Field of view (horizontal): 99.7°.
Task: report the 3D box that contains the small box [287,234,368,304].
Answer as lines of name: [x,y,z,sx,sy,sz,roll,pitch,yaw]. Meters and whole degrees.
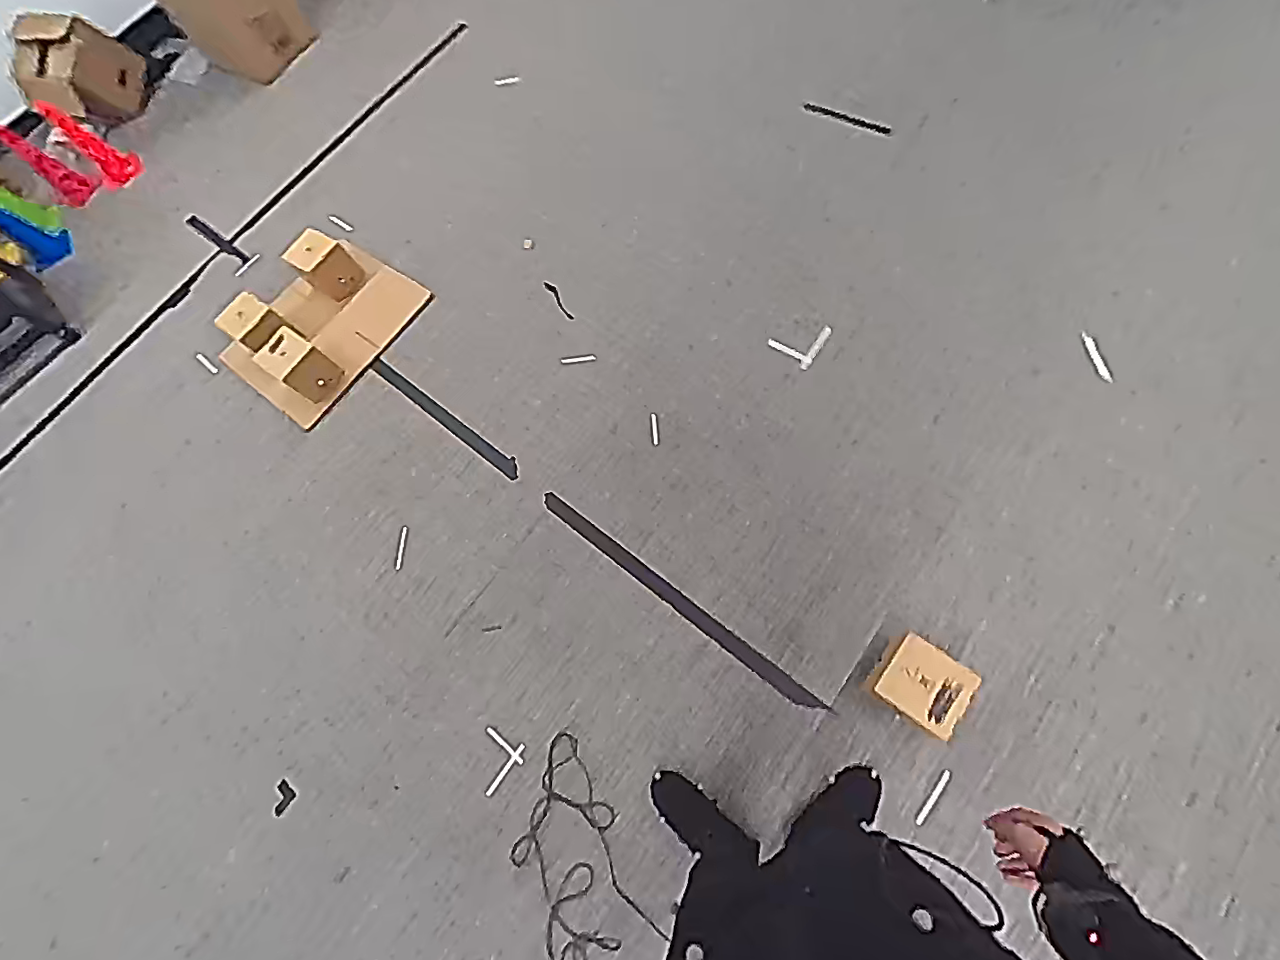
small box: [-1.232,-0.831,2.141,0.179,0.176,0.168,29,77,19]

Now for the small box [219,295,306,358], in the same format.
small box: [-1.440,-0.566,2.071,0.179,0.176,0.168,33,79,20]

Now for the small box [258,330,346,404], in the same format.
small box: [-1.227,-0.405,1.971,0.179,0.176,0.168,32,79,19]
